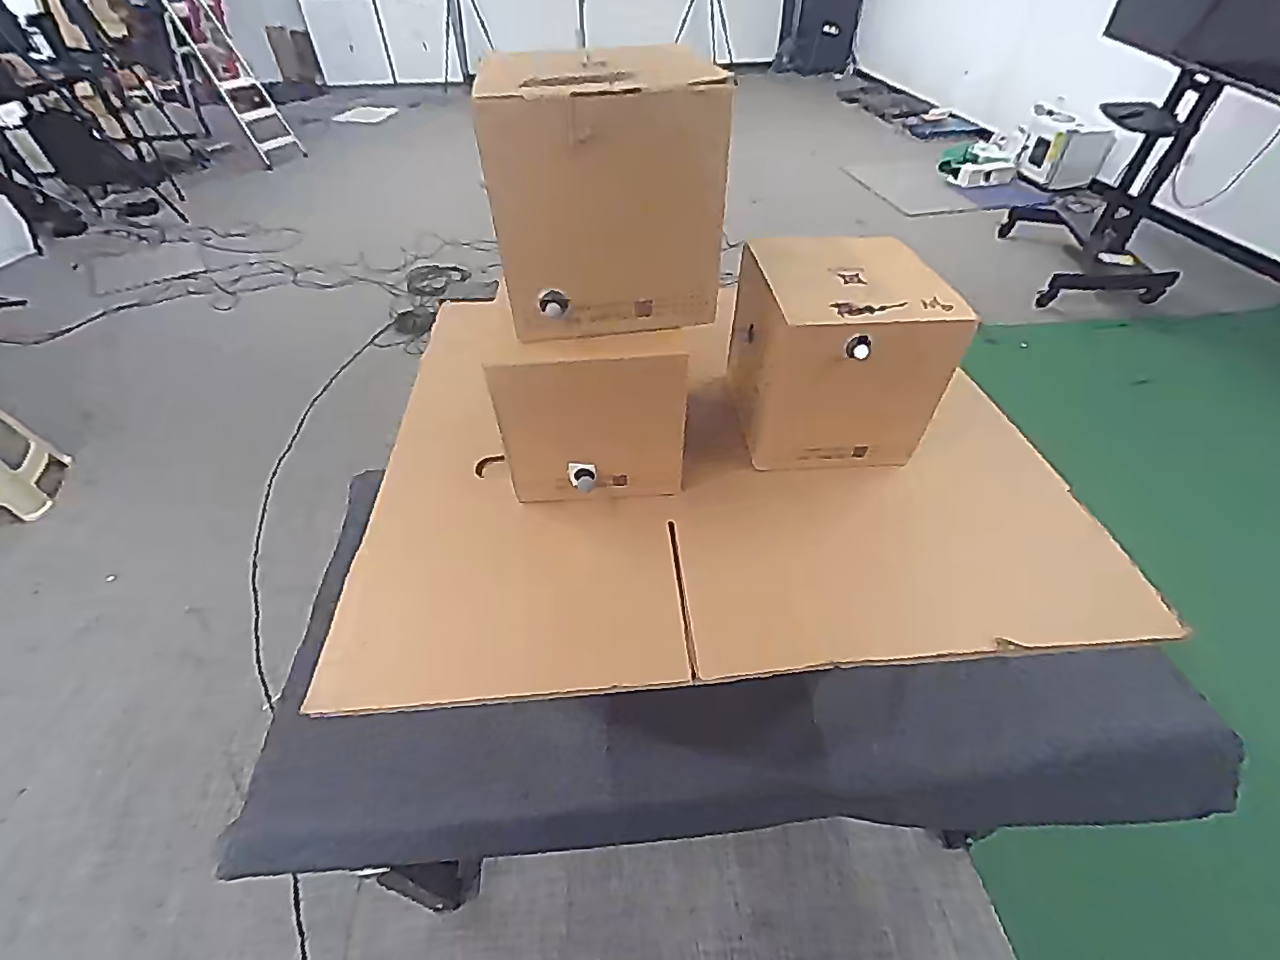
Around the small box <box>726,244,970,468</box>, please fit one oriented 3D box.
[{"bbox_3d":[0.191,-0.131,0.567,0.168,0.176,0.179,-2,45,-3],"label":"small box"}]

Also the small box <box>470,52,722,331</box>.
[{"bbox_3d":[-0.034,-0.237,0.455,0.168,0.176,0.179,-7,45,-5],"label":"small box"}]

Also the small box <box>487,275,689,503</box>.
[{"bbox_3d":[-0.047,-0.099,0.549,0.168,0.176,0.179,-5,47,-2],"label":"small box"}]
